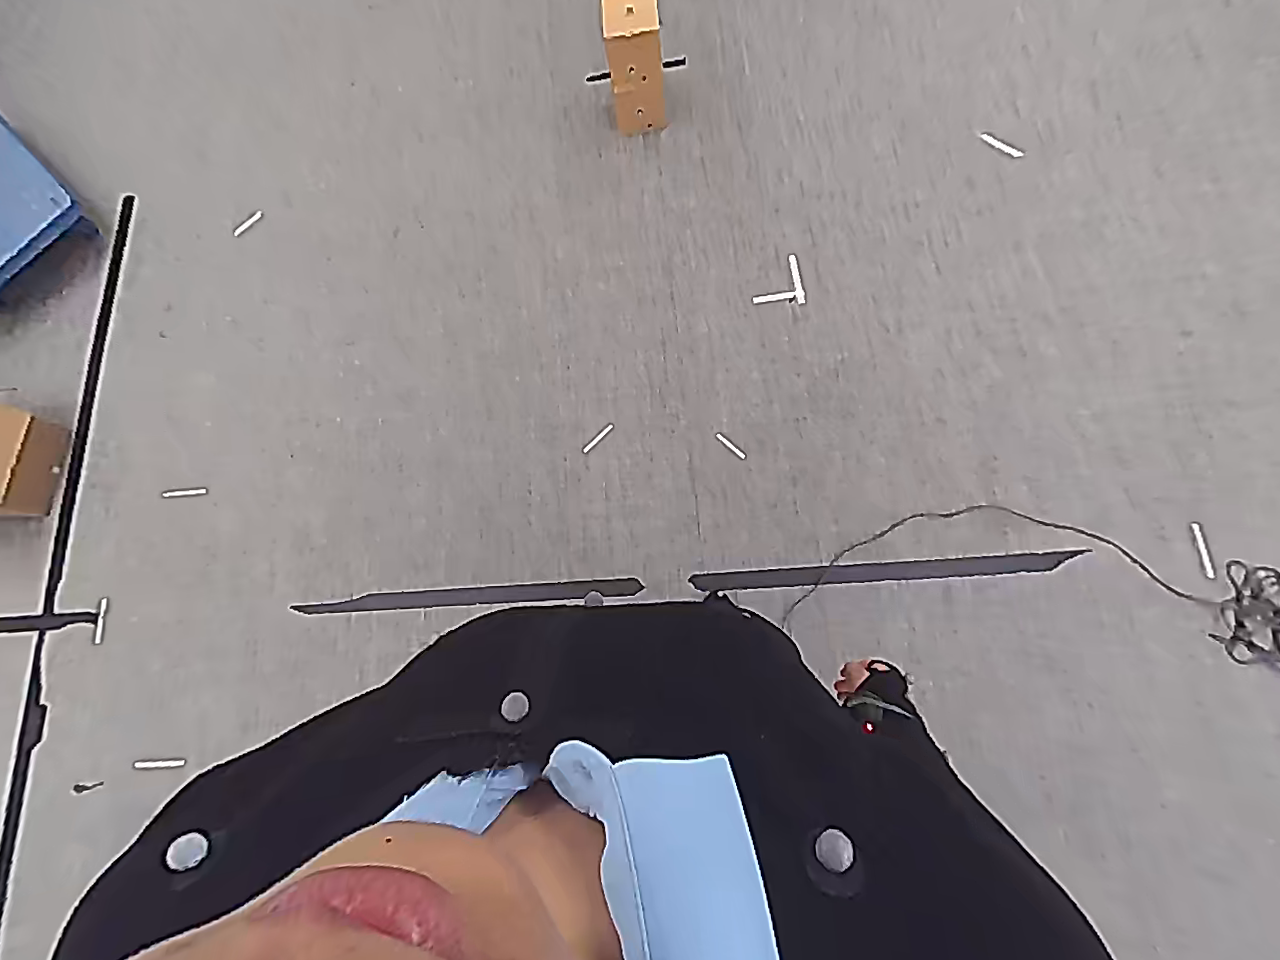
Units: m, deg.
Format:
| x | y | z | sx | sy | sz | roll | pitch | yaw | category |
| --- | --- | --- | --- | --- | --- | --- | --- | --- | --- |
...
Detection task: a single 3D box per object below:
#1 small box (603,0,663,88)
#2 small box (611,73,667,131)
| x | y | z | sx | sy | sz | roll | pitch | yaw | category |
| --- | --- | --- | --- | --- | --- | --- | --- | --- | --- |
| -0.019 | -1.366 | 1.672 | 0.168 | 0.176 | 0.179 | -6 | 76 | 6 | small box |
| -0.004 | -1.318 | 1.827 | 0.168 | 0.176 | 0.179 | -8 | 75 | 4 | small box |
